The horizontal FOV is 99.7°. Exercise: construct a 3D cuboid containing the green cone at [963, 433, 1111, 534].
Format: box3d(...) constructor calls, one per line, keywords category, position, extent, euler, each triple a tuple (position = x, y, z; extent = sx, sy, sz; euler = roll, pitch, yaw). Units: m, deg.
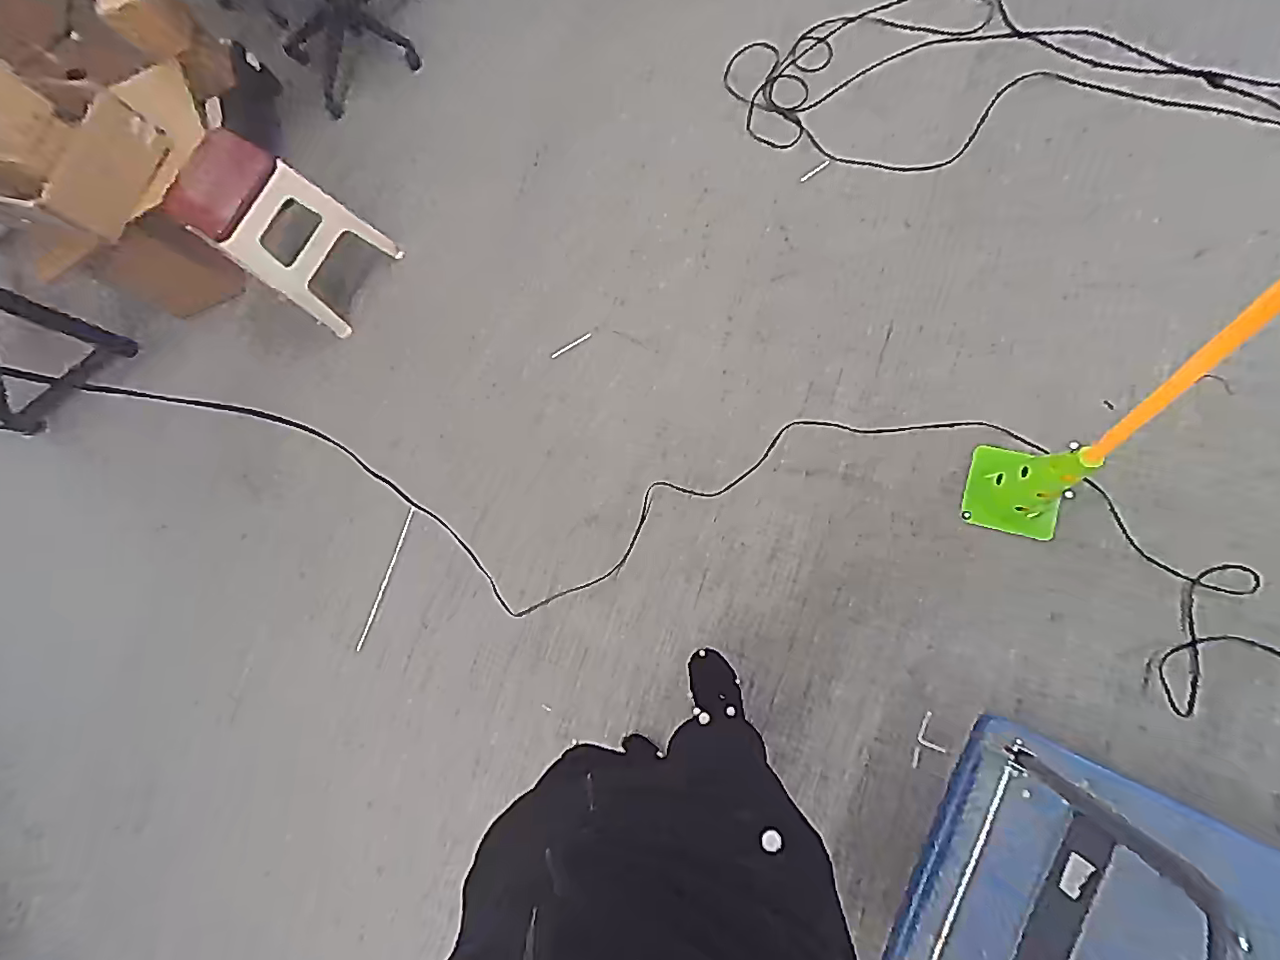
box3d(category="green cone", position=(0.854, -0.021, 1.124), extent=(0.200, 0.368, 0.202), euler=(14, 82, 16))
